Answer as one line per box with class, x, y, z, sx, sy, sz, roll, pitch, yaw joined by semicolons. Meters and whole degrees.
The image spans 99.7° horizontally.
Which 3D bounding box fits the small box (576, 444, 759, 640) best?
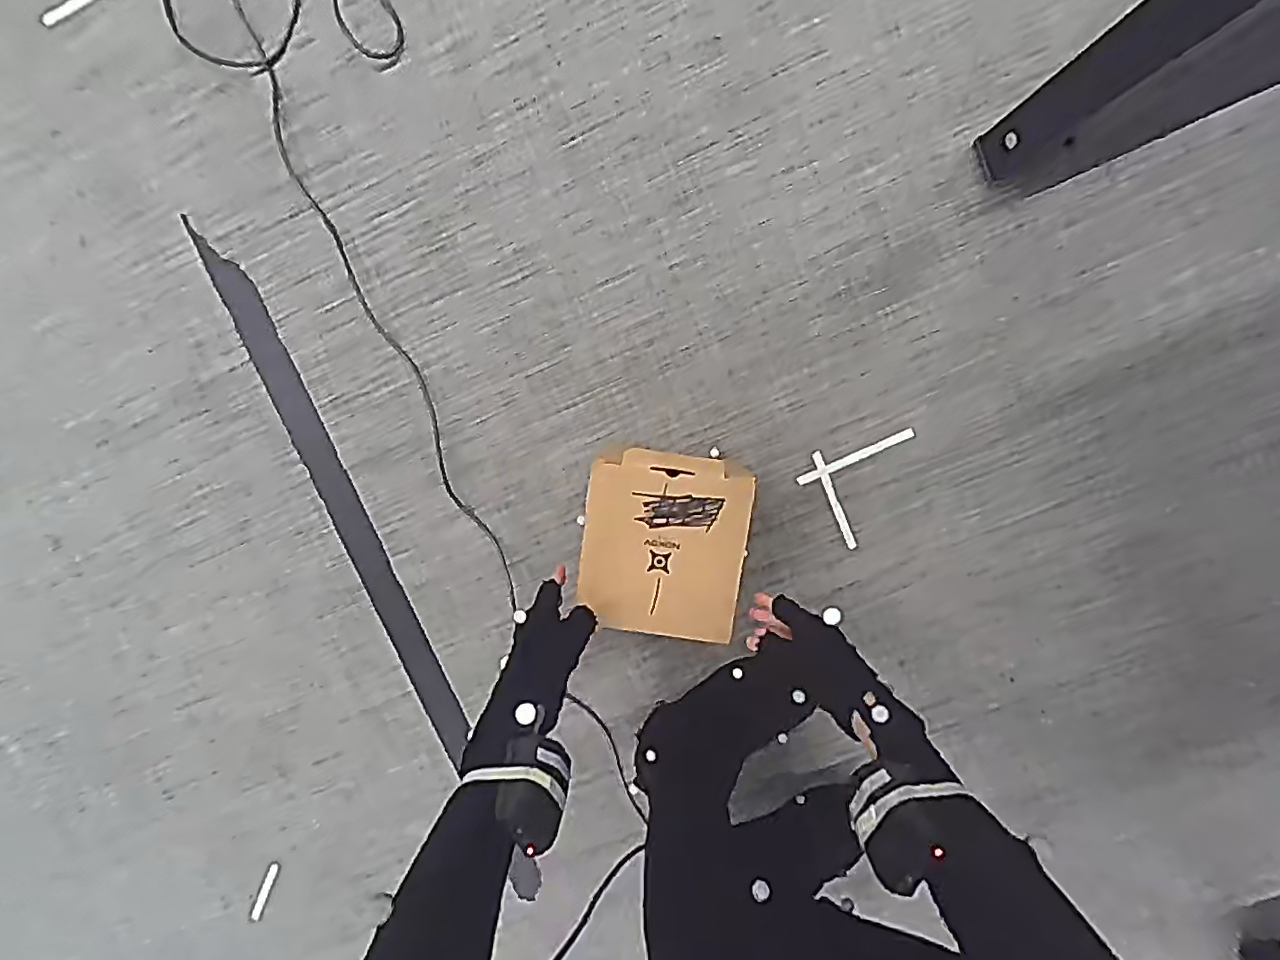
small box;0.029;0.057;0.619;0.168;0.176;0.179;8;99;2
